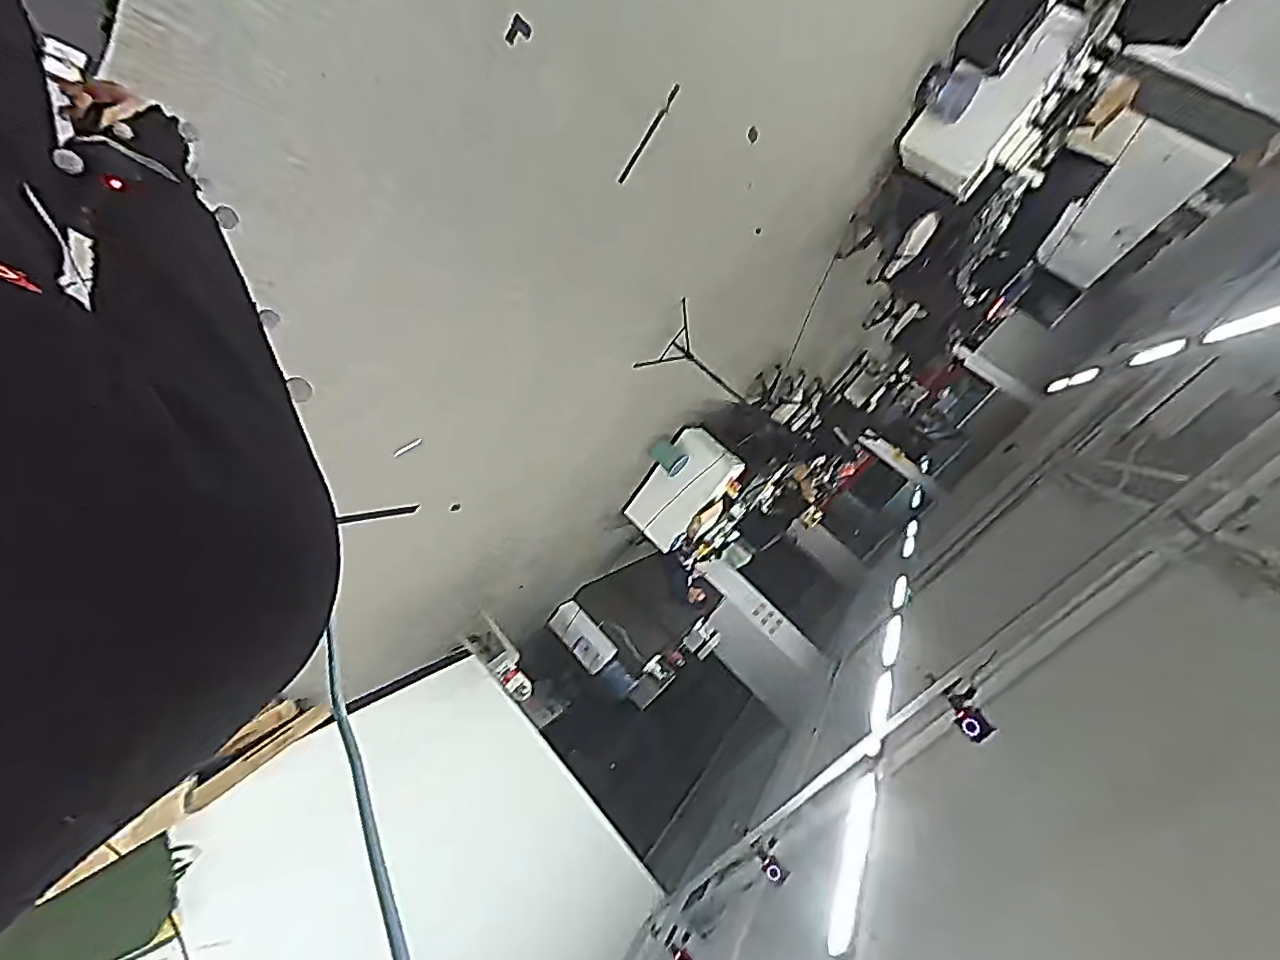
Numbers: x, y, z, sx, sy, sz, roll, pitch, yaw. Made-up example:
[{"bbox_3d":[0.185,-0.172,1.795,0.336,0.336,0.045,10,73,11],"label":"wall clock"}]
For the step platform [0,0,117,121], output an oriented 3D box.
[{"bbox_3d":[-1.077,-0.750,0.620,0.286,0.204,0.684,-54,159,16],"label":"step platform"}]
